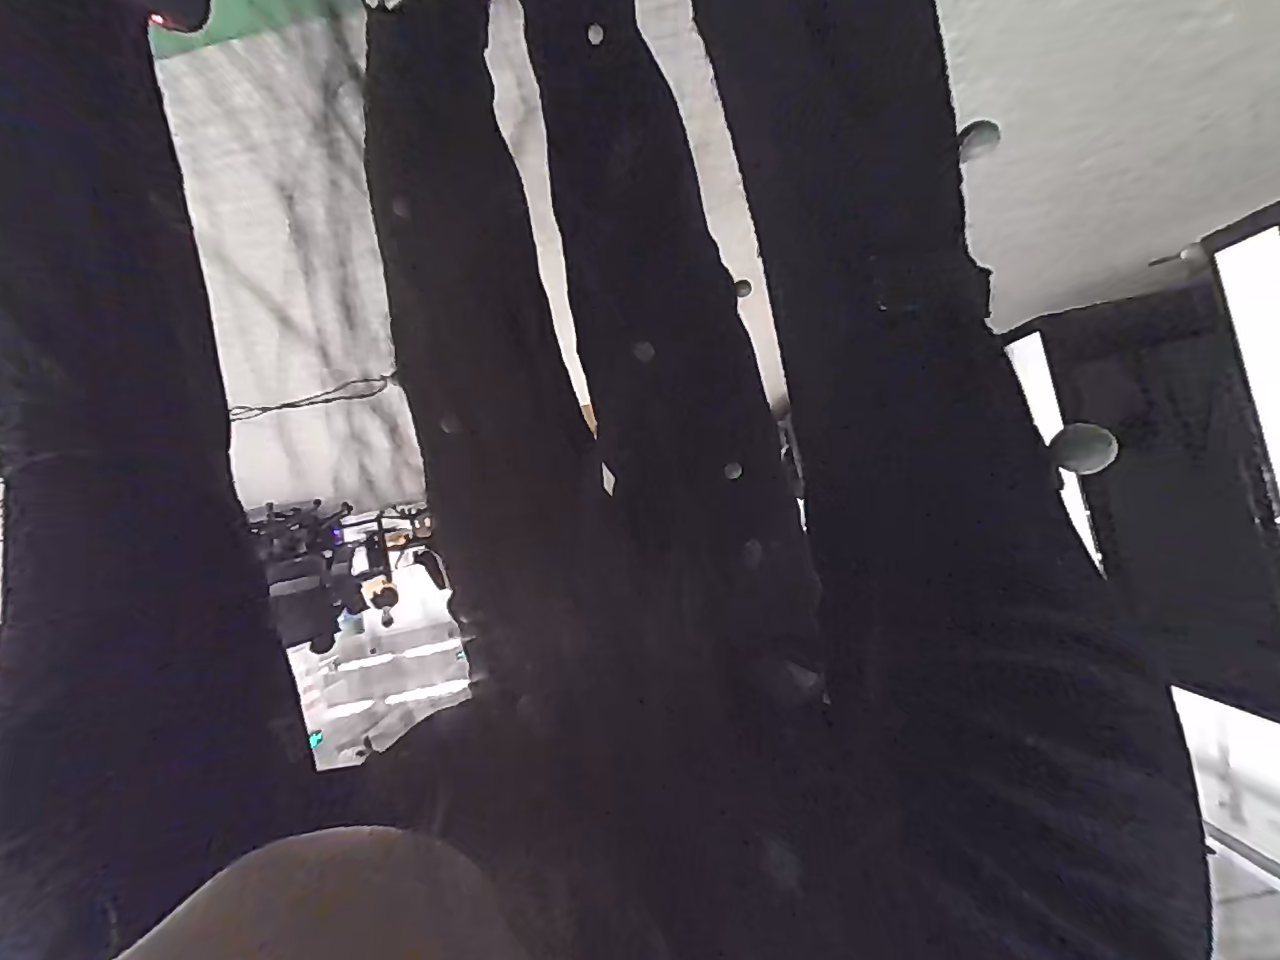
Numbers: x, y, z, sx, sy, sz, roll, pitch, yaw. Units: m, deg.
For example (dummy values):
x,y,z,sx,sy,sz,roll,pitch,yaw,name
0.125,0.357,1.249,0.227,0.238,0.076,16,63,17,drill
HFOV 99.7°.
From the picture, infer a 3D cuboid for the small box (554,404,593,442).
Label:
x,y,z,sx,sy,sz,roll,pitch,yaw,name
-0.358,-0.312,2.941,0.168,0.176,0.179,-13,178,2,small box
